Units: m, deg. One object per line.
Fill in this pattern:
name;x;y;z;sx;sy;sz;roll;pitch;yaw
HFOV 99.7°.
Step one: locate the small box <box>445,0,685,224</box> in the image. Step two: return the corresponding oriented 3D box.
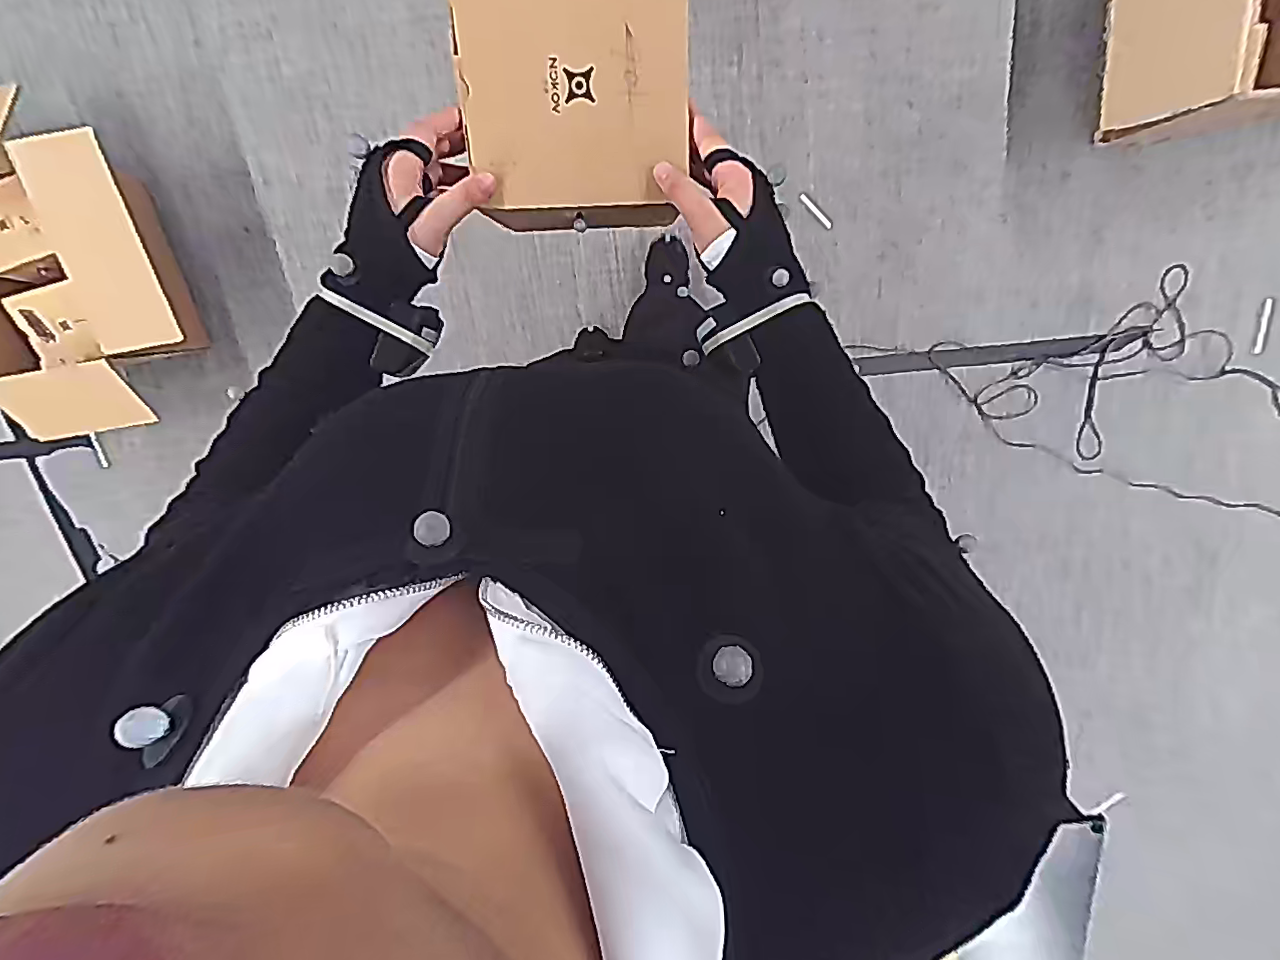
small box;-0.056;-0.331;0.483;0.179;0.176;0.168;-4;109;-2
